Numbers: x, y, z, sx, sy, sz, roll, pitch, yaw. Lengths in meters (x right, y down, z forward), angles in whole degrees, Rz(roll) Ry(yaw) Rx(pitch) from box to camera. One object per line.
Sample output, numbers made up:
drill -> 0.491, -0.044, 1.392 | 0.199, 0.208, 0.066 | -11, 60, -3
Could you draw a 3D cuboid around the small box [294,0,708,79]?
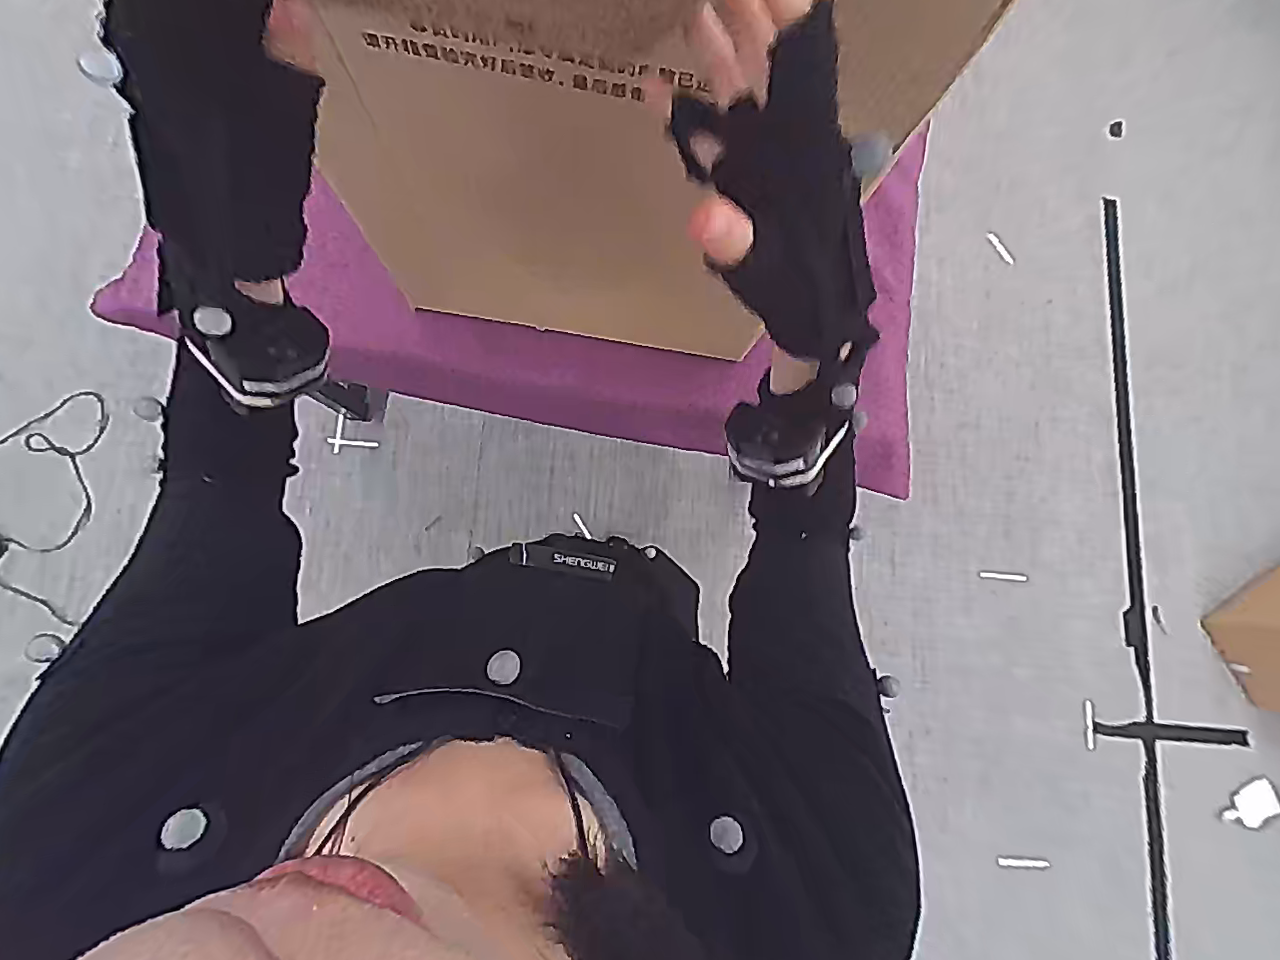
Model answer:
small box -> -0.047, -0.248, 0.144 | 0.168, 0.176, 0.179 | 0, 112, -17
